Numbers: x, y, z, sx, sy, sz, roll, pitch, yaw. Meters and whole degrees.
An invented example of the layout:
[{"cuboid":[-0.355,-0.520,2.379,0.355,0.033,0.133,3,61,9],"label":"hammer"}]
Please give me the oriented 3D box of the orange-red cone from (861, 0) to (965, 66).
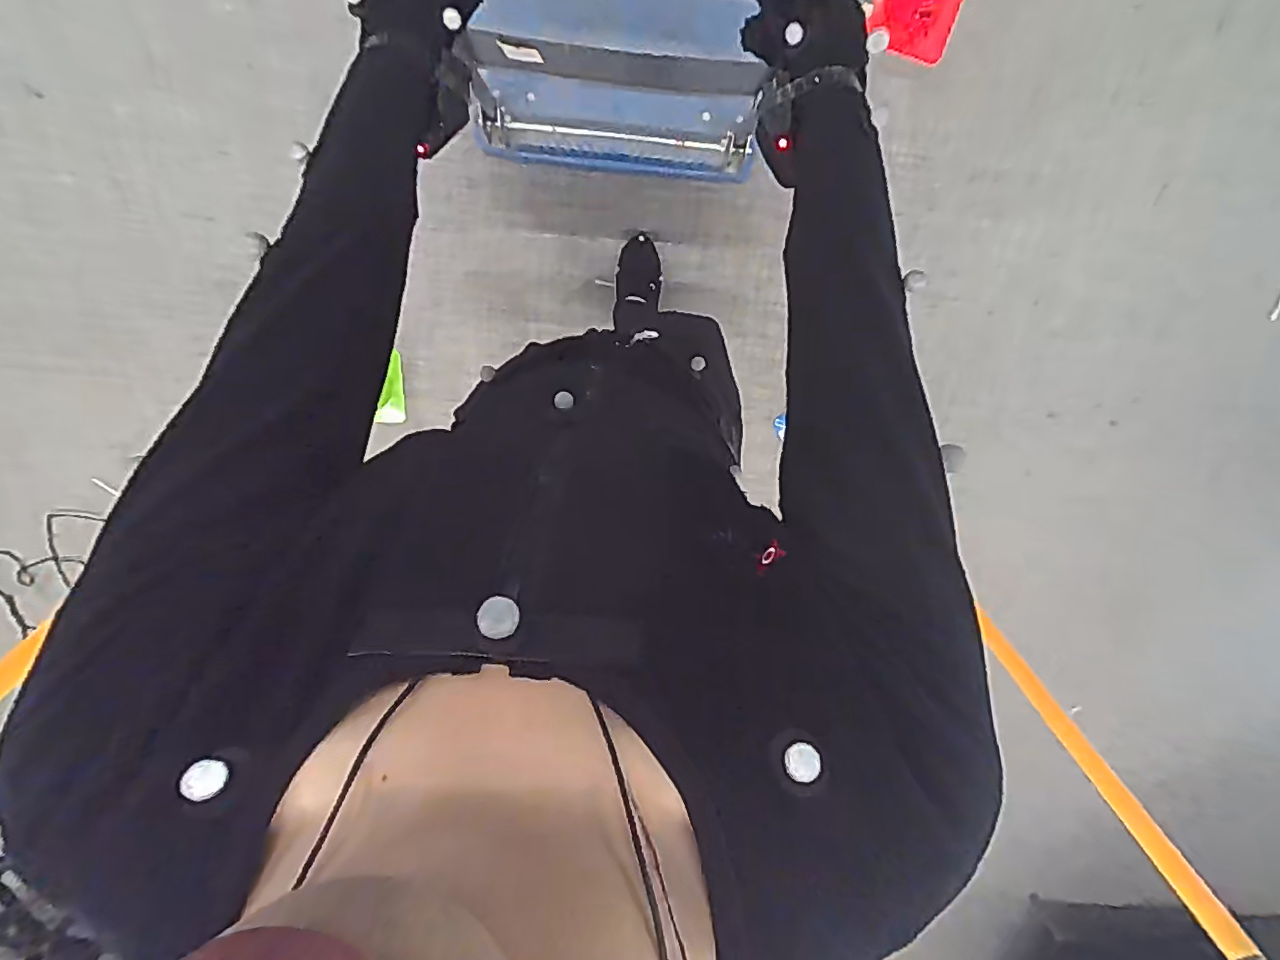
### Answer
[{"cuboid":[0.605,-0.977,1.015,0.198,0.360,0.199,15,110,-7],"label":"orange-red cone"}]
